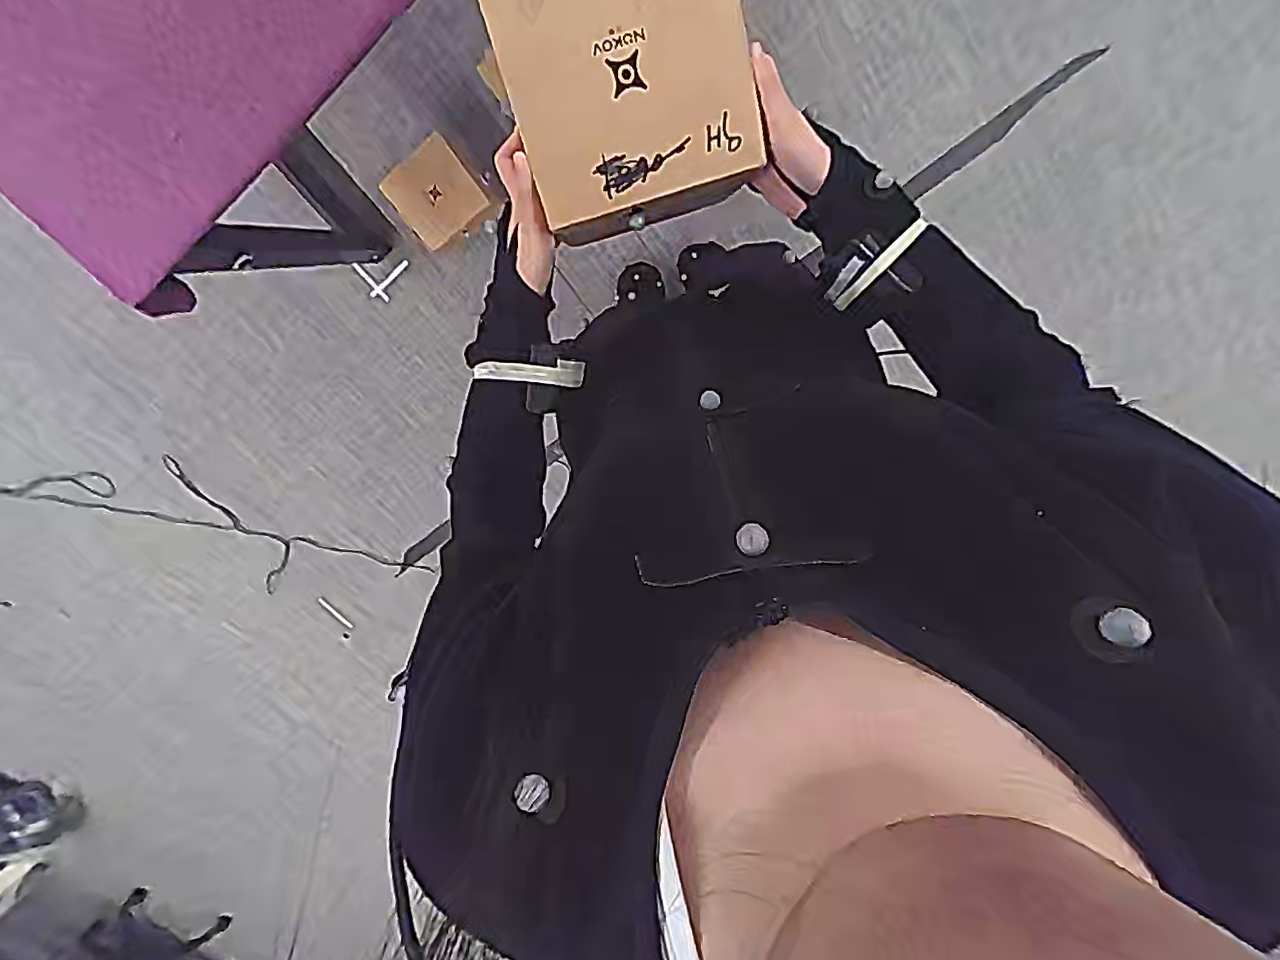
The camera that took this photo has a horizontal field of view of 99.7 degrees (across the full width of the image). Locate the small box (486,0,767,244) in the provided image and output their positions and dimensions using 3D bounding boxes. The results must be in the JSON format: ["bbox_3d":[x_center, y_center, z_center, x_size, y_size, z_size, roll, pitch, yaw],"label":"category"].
[{"bbox_3d":[-0.012,-0.308,0.435,0.168,0.176,0.179,-15,109,3],"label":"small box"}]

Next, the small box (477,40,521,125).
[{"bbox_3d":[-0.202,-0.822,1.127,0.168,0.176,0.179,-36,109,15],"label":"small box"}]

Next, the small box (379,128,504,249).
[{"bbox_3d":[-0.433,-0.641,1.211,0.179,0.176,0.168,-33,110,13],"label":"small box"}]
